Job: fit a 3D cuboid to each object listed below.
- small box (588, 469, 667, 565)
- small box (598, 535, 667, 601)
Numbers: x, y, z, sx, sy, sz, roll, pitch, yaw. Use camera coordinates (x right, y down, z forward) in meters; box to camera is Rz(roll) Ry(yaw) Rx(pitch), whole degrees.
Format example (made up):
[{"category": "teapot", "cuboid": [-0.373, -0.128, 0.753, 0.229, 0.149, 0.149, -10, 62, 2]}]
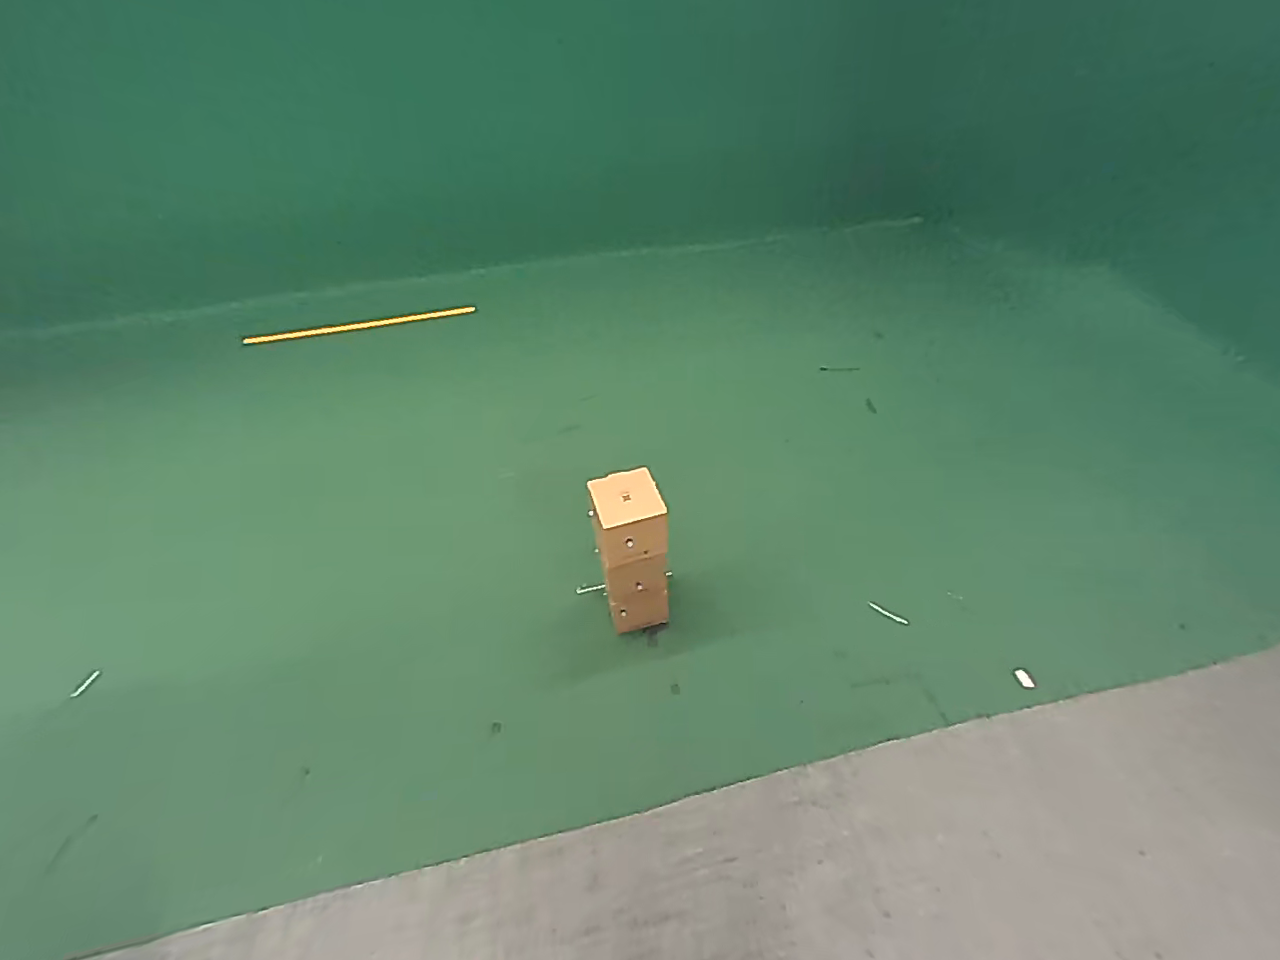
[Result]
[{"category": "small box", "cuboid": [-0.031, 0.104, 1.431, 0.168, 0.176, 0.179, -14, 45, -10]}, {"category": "small box", "cuboid": [-0.025, 0.216, 1.548, 0.168, 0.176, 0.179, -13, 46, -8]}]
